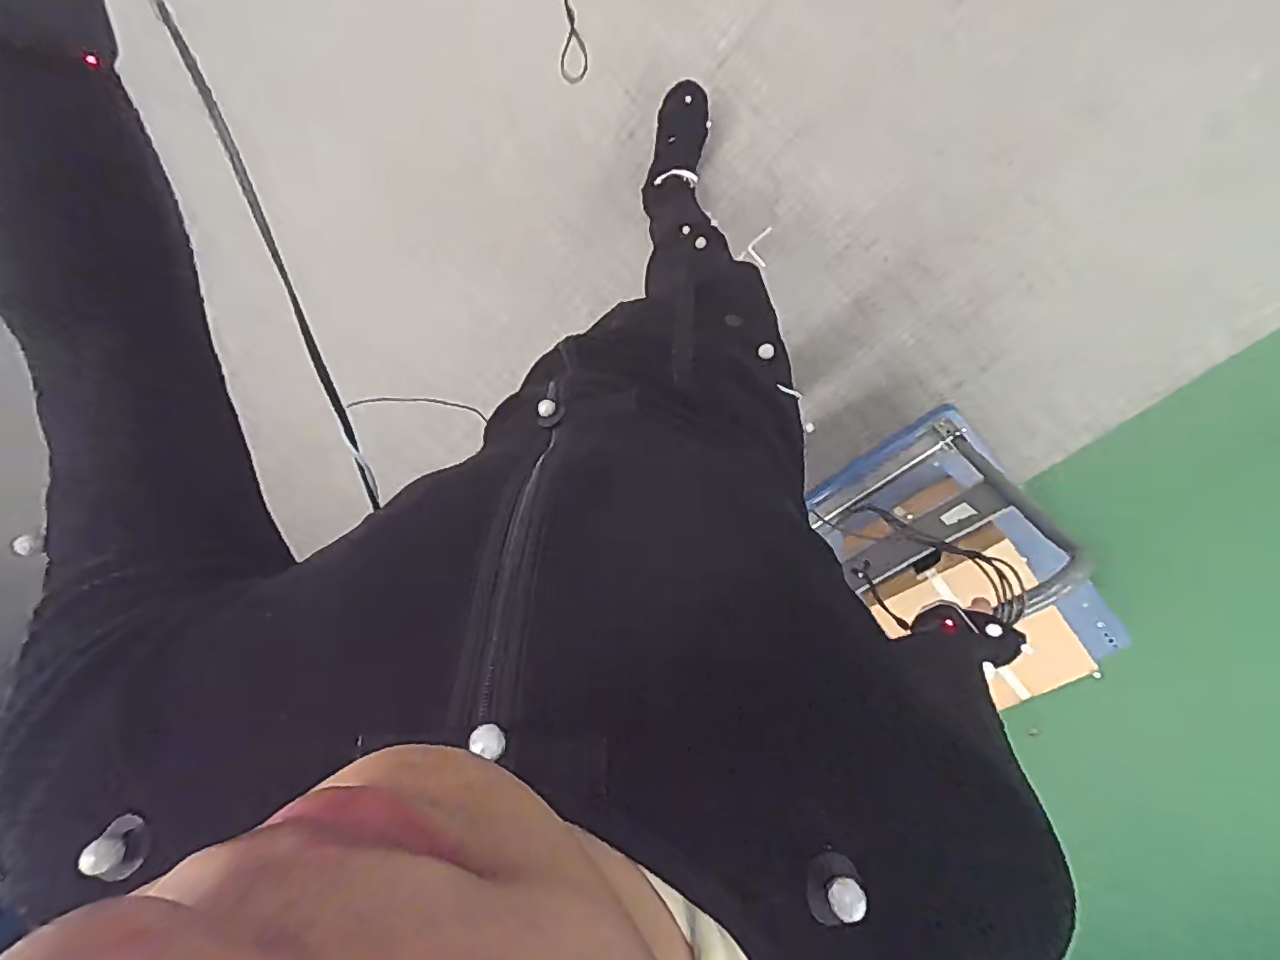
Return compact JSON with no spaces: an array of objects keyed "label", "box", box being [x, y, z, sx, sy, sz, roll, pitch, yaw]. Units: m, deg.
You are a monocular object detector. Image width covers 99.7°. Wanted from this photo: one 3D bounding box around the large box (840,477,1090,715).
[{"label":"large box","box":[0.754,0.272,1.313,0.320,0.320,0.408,-35,105,22]}]
